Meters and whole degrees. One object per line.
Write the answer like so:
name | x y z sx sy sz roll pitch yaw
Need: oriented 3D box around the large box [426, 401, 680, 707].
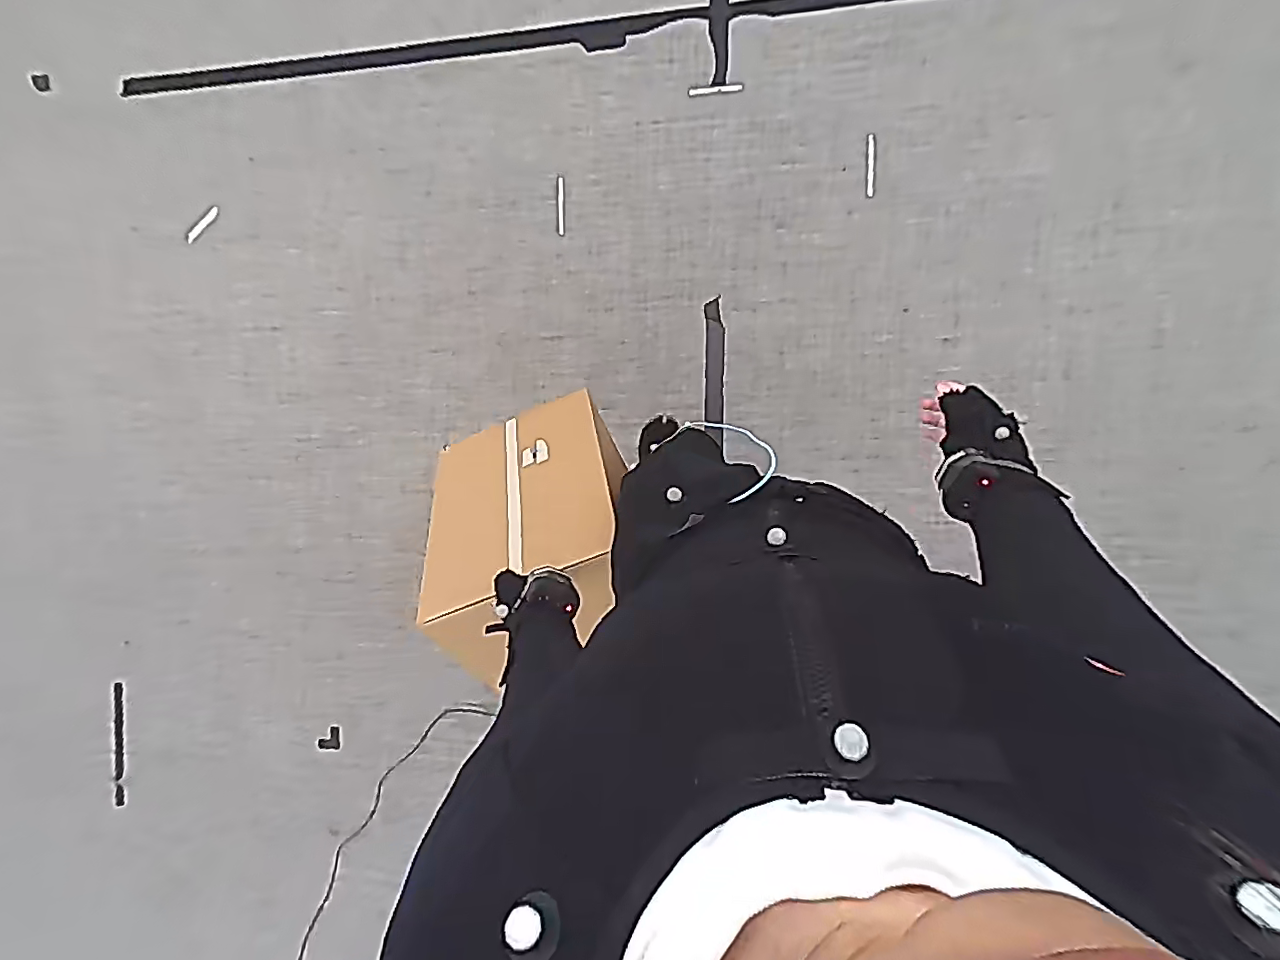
large box | -0.153 0.129 1.003 0.320 0.408 0.320 -21 131 5
